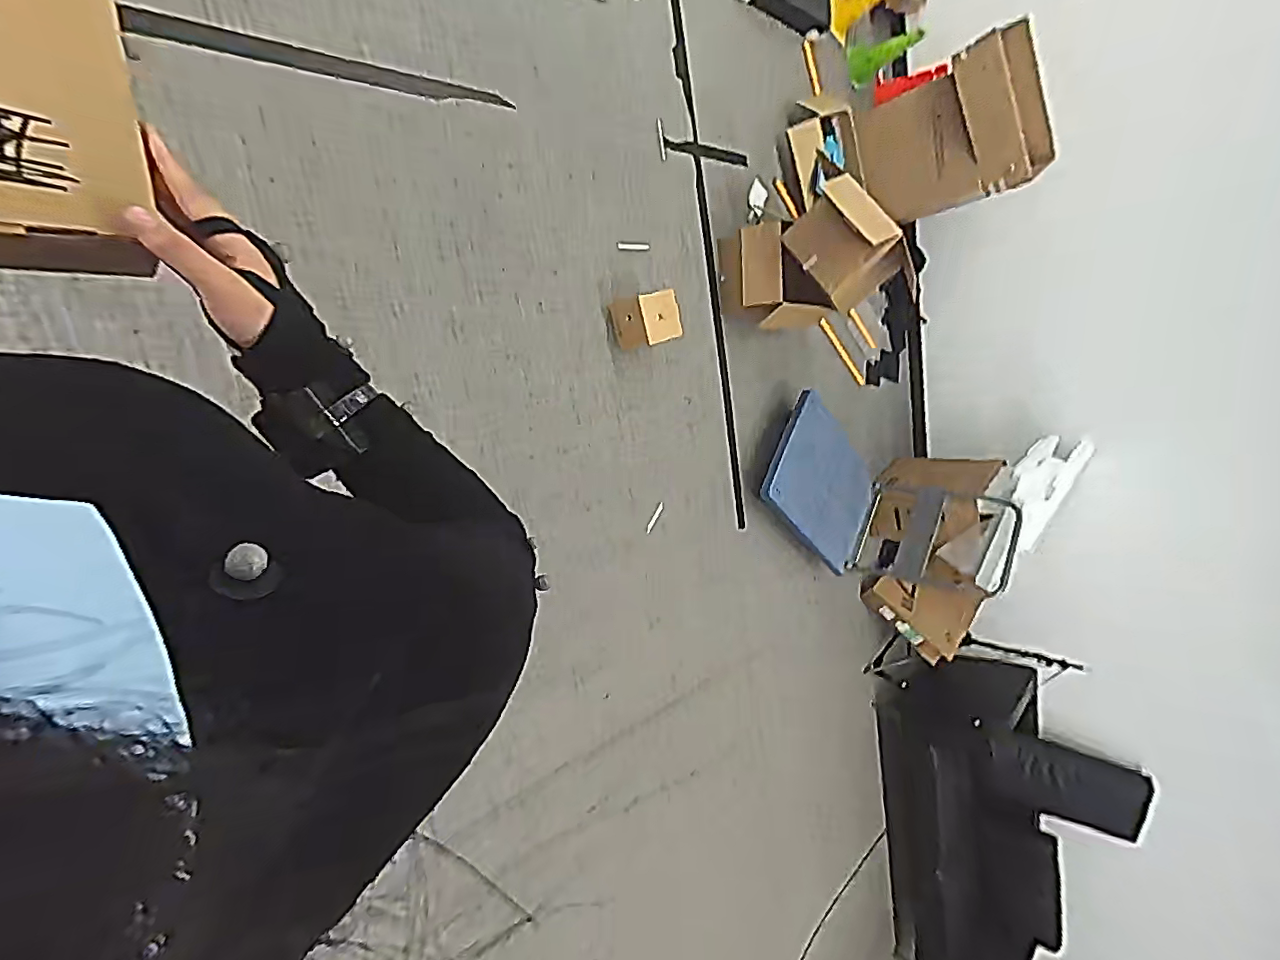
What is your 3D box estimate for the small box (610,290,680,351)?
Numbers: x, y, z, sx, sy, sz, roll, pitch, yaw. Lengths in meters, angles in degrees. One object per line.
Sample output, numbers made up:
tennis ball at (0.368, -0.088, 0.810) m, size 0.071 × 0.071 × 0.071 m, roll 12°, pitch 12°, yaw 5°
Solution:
small box at (0.012, -0.564, 1.924) m, size 0.179 × 0.176 × 0.168 m, roll -27°, pitch 111°, yaw -38°
